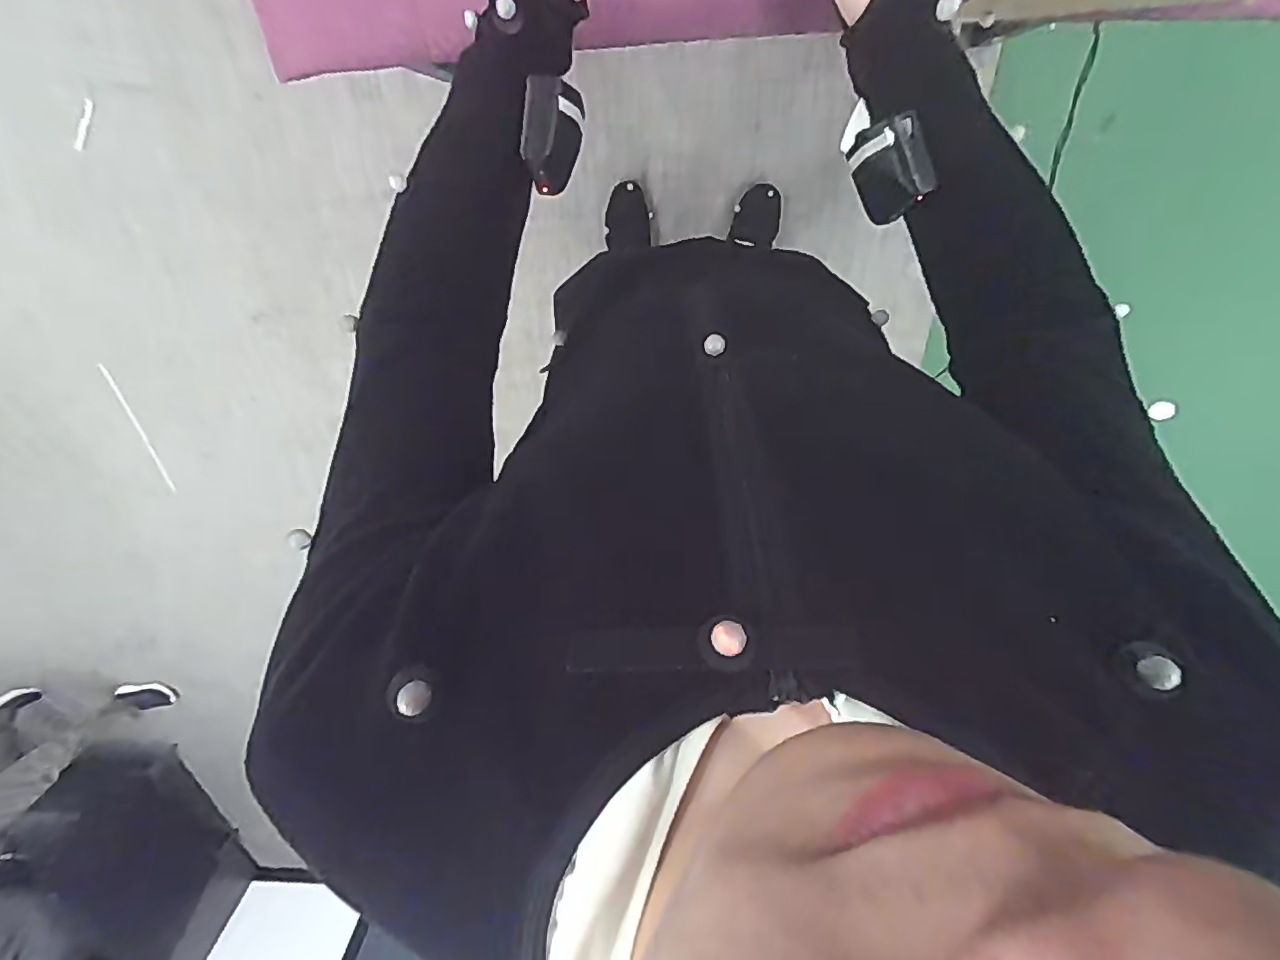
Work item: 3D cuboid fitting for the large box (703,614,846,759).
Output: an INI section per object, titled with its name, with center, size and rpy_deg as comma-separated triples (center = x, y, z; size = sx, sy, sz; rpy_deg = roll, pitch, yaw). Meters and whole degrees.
[large box]
center = 0.494, 0.784, 2.060
size = 0.408, 0.320, 0.320
rpy_deg = -31, 115, 19
